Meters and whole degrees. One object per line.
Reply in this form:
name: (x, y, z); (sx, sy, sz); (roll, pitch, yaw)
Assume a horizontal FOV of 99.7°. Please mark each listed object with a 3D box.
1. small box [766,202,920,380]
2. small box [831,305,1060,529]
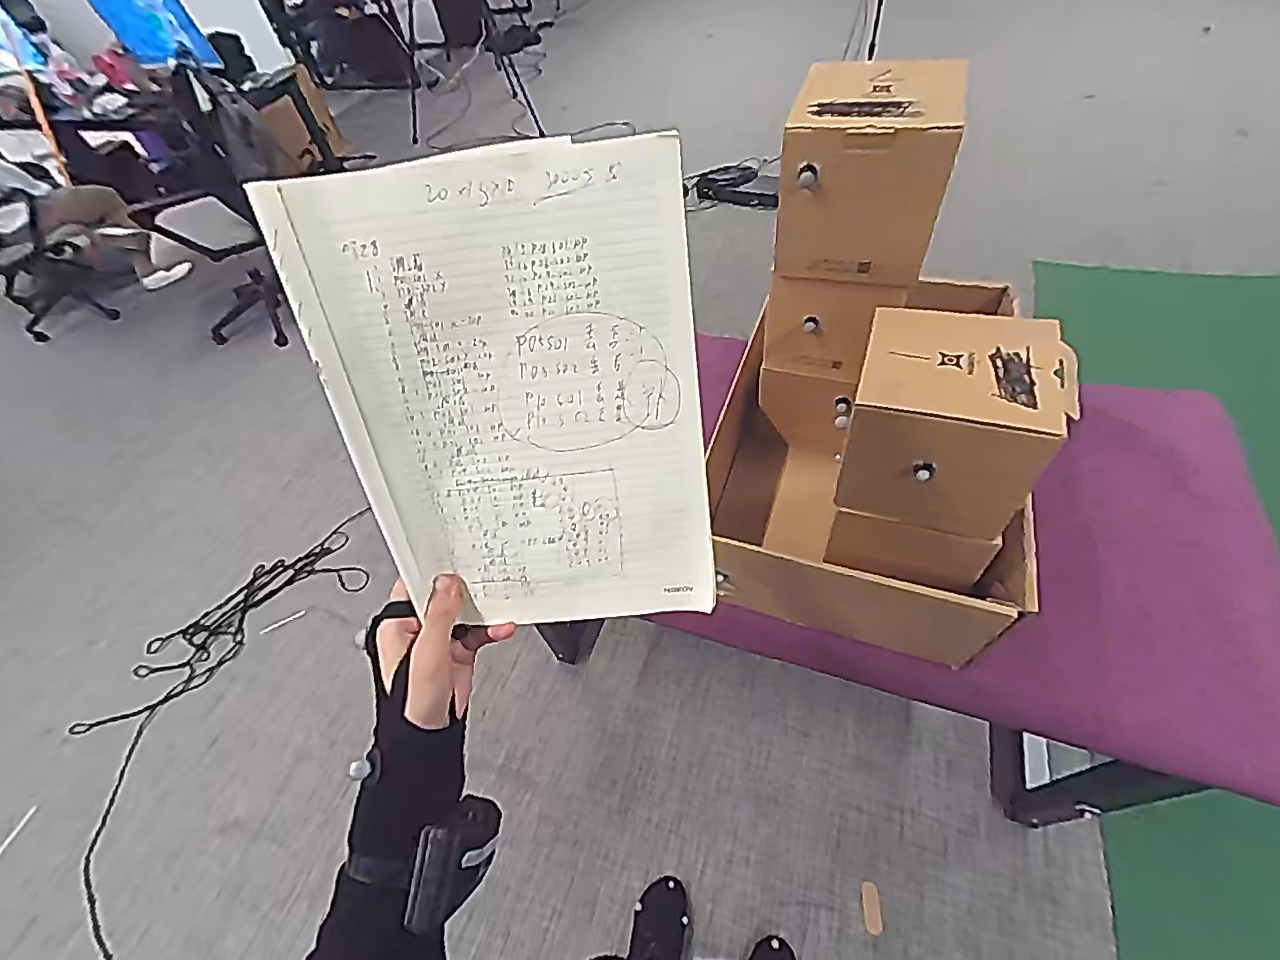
small box: (0.279, -0.264, 0.766); (0.168, 0.176, 0.179); (14, 57, 19)
small box: (0.323, -0.067, 0.596); (0.179, 0.176, 0.168); (13, 54, 21)
